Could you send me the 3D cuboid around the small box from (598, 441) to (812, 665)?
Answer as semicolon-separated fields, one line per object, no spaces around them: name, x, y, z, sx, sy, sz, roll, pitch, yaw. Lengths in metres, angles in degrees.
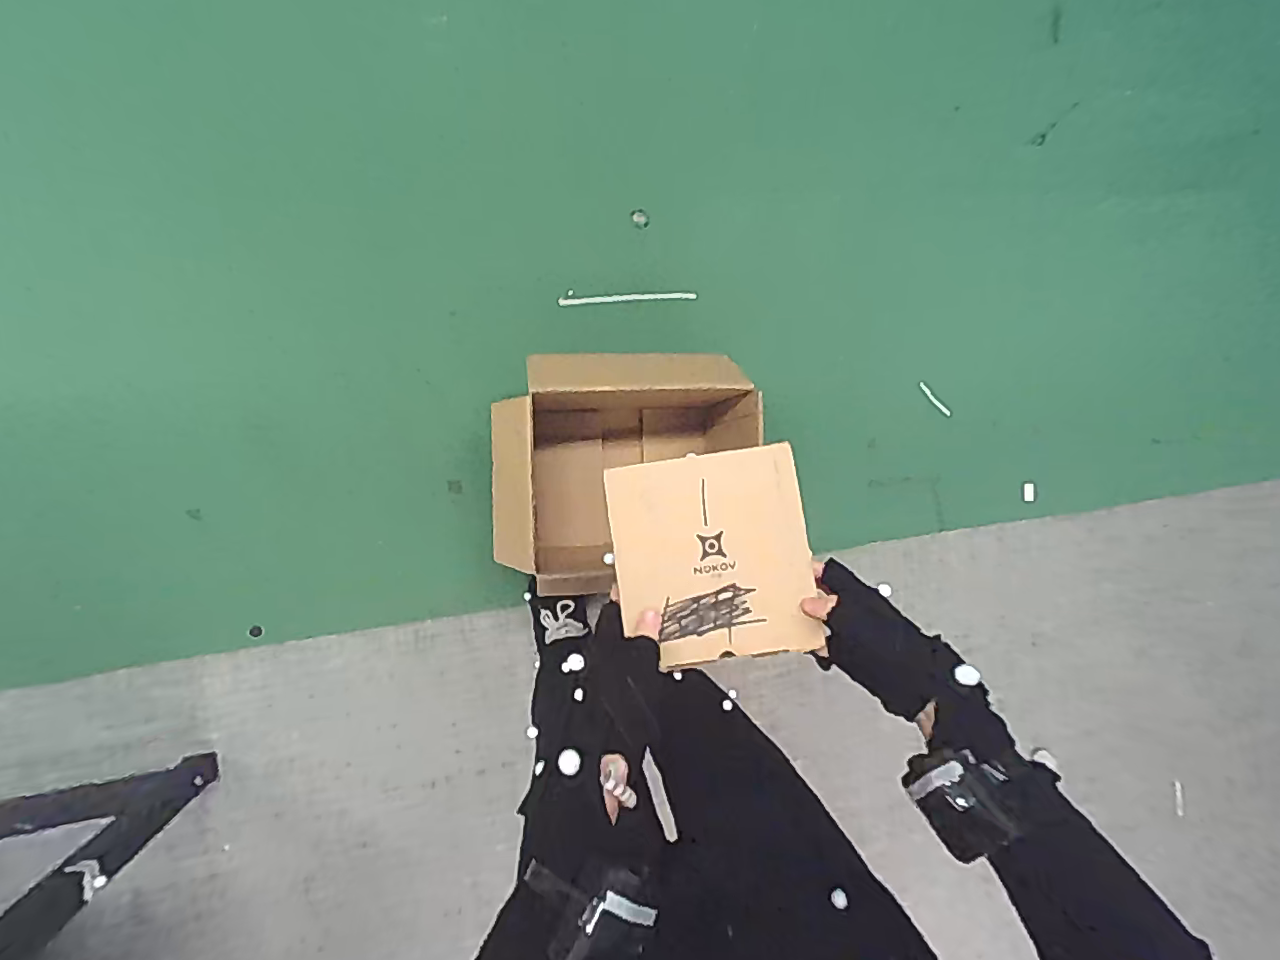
small box;0.056;0.068;0.539;0.168;0.176;0.179;-8;83;0
